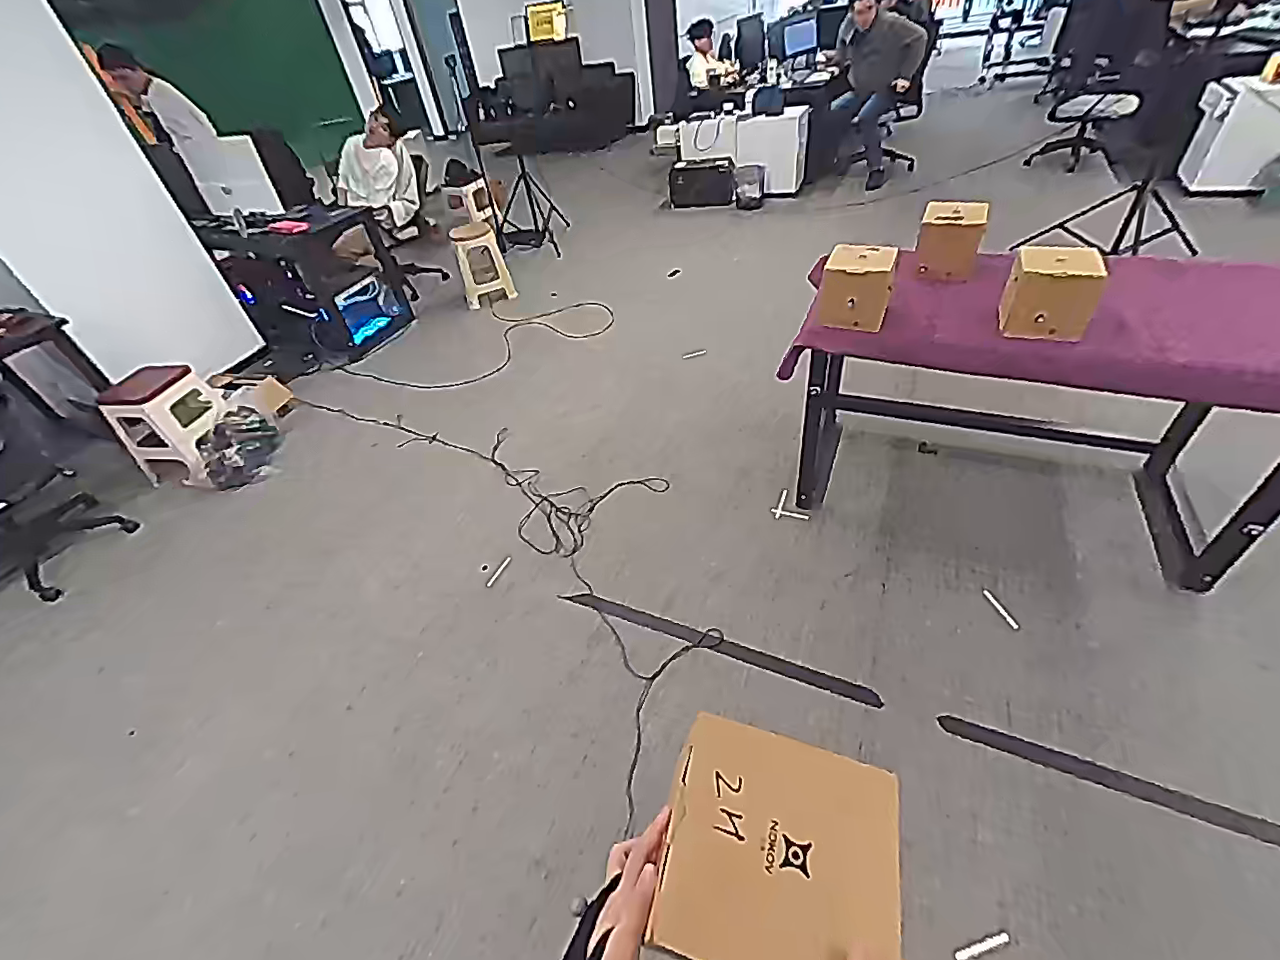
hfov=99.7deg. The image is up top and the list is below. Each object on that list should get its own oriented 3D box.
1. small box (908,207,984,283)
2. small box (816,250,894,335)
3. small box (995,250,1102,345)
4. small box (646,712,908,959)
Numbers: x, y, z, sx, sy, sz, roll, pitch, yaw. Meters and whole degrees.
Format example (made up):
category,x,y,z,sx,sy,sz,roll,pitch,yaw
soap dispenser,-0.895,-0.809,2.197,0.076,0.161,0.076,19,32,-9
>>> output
category,x,y,z,sx,sy,sz,roll,pitch,yaw
small box,0.933,-0.720,1.657,0.168,0.176,0.179,14,48,24
small box,0.592,-0.521,1.502,0.168,0.176,0.179,14,47,23
small box,1.014,-0.461,1.360,0.168,0.176,0.179,11,45,22
small box,0.113,0.337,0.480,0.179,0.176,0.168,15,50,9
